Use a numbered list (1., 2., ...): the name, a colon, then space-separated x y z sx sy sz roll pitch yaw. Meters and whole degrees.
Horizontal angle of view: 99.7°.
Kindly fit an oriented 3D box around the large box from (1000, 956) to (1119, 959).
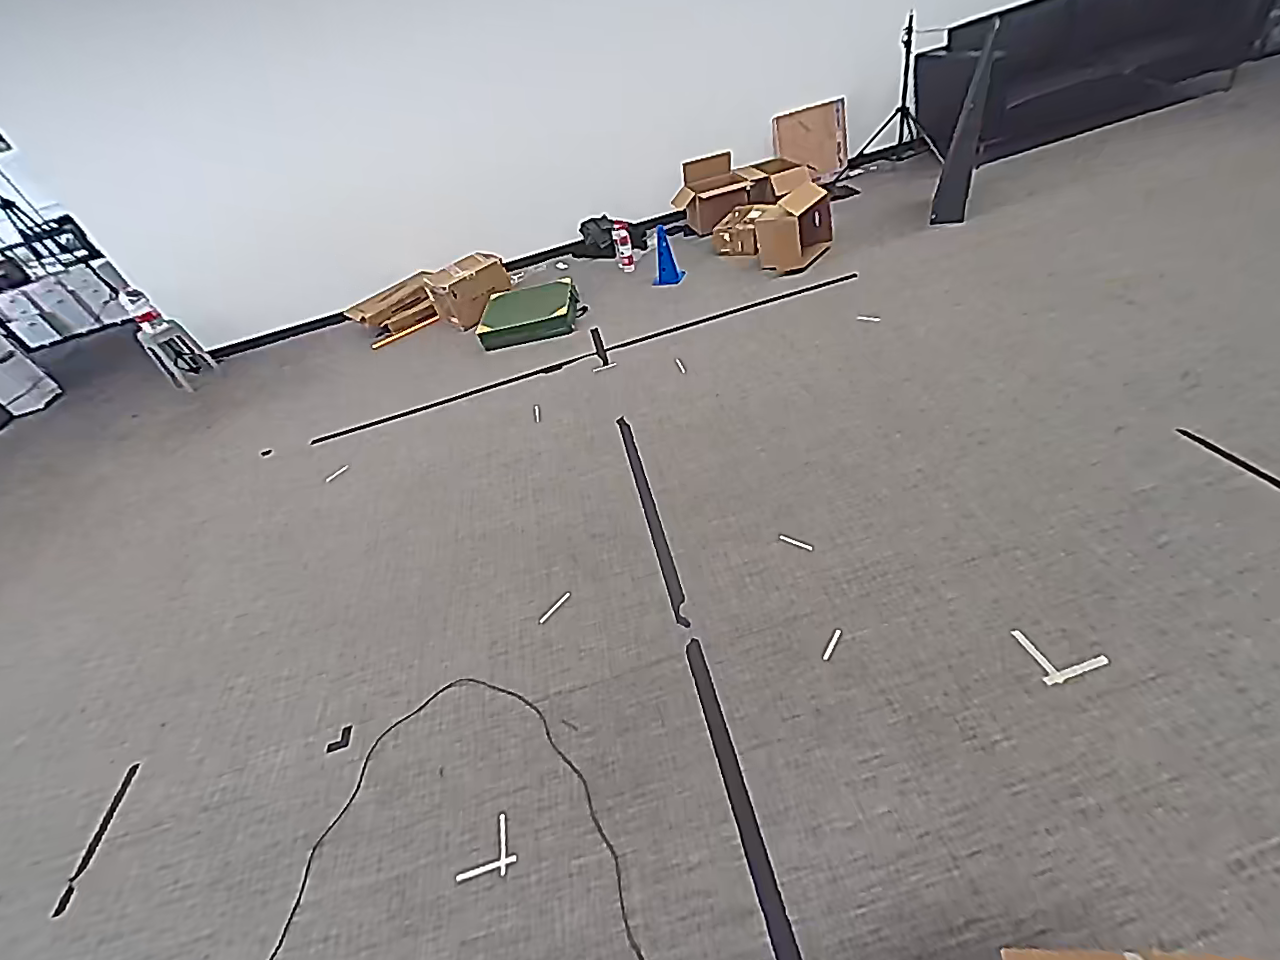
1. large box: 0.599 0.744 0.483 0.320 0.408 0.320 -9 81 12
